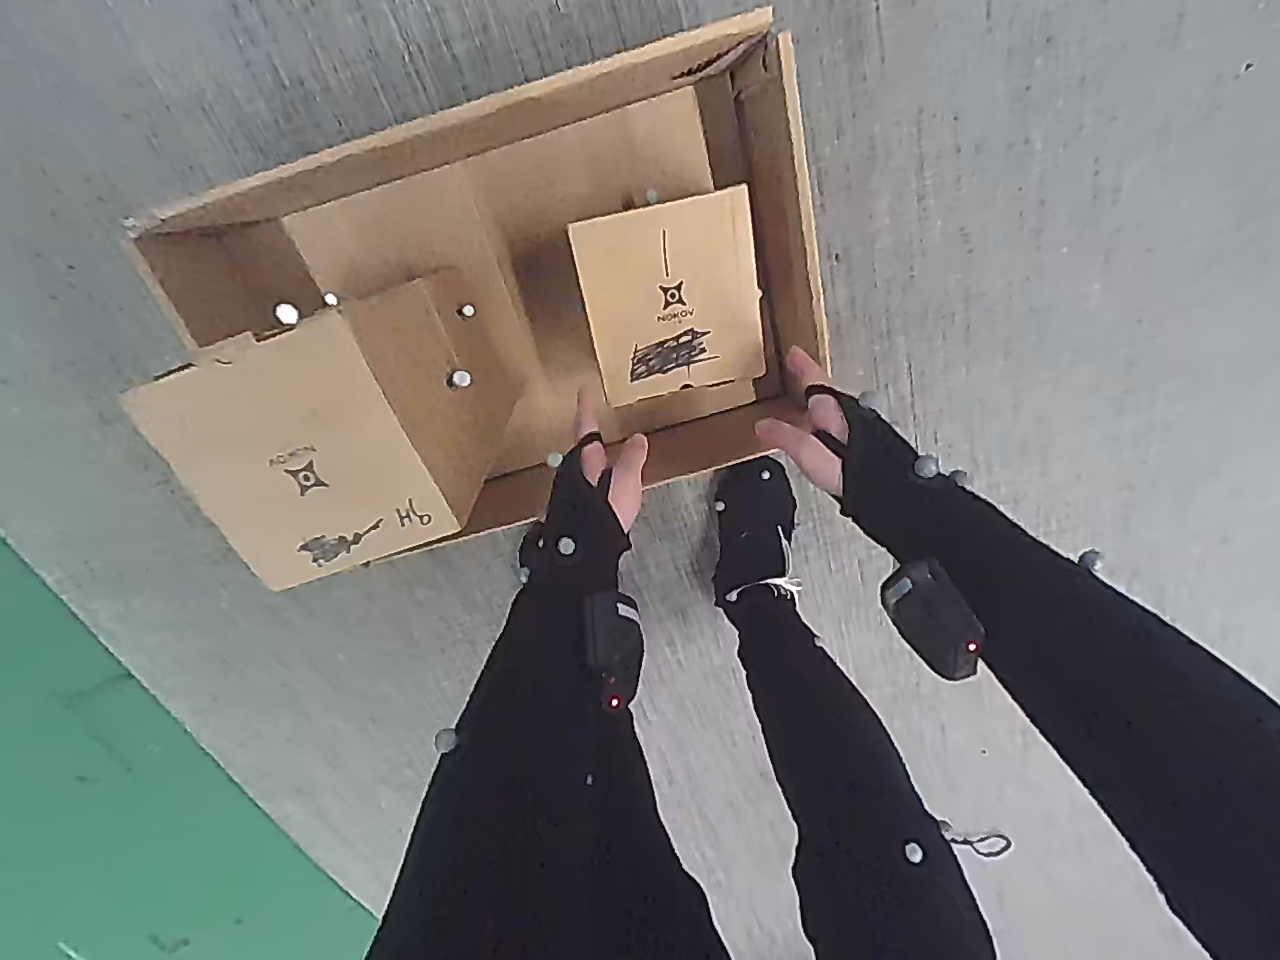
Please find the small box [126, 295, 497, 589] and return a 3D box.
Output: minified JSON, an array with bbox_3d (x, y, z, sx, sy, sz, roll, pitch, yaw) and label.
[{"bbox_3d":[-0.238,-0.045,0.450,0.168,0.176,0.179,-17,115,3],"label":"small box"}]
